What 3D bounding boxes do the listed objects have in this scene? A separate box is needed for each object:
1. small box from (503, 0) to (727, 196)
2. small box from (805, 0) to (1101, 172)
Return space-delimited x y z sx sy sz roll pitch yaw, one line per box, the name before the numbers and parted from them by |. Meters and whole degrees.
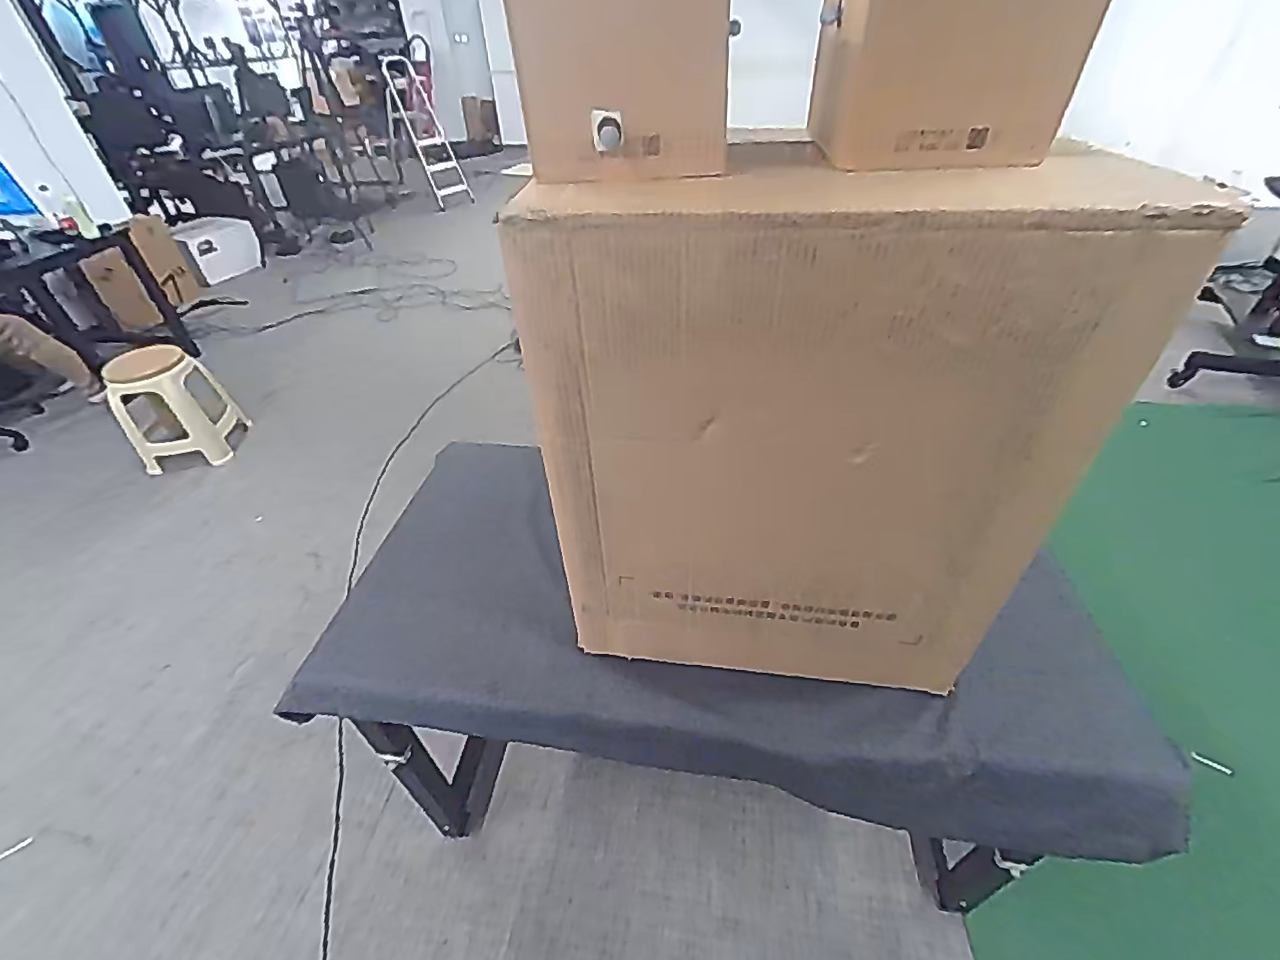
small box | -0.011 -0.364 0.472 0.168 0.176 0.179 -2 43 7
small box | 0.242 -0.370 0.452 0.168 0.176 0.179 0 42 5
